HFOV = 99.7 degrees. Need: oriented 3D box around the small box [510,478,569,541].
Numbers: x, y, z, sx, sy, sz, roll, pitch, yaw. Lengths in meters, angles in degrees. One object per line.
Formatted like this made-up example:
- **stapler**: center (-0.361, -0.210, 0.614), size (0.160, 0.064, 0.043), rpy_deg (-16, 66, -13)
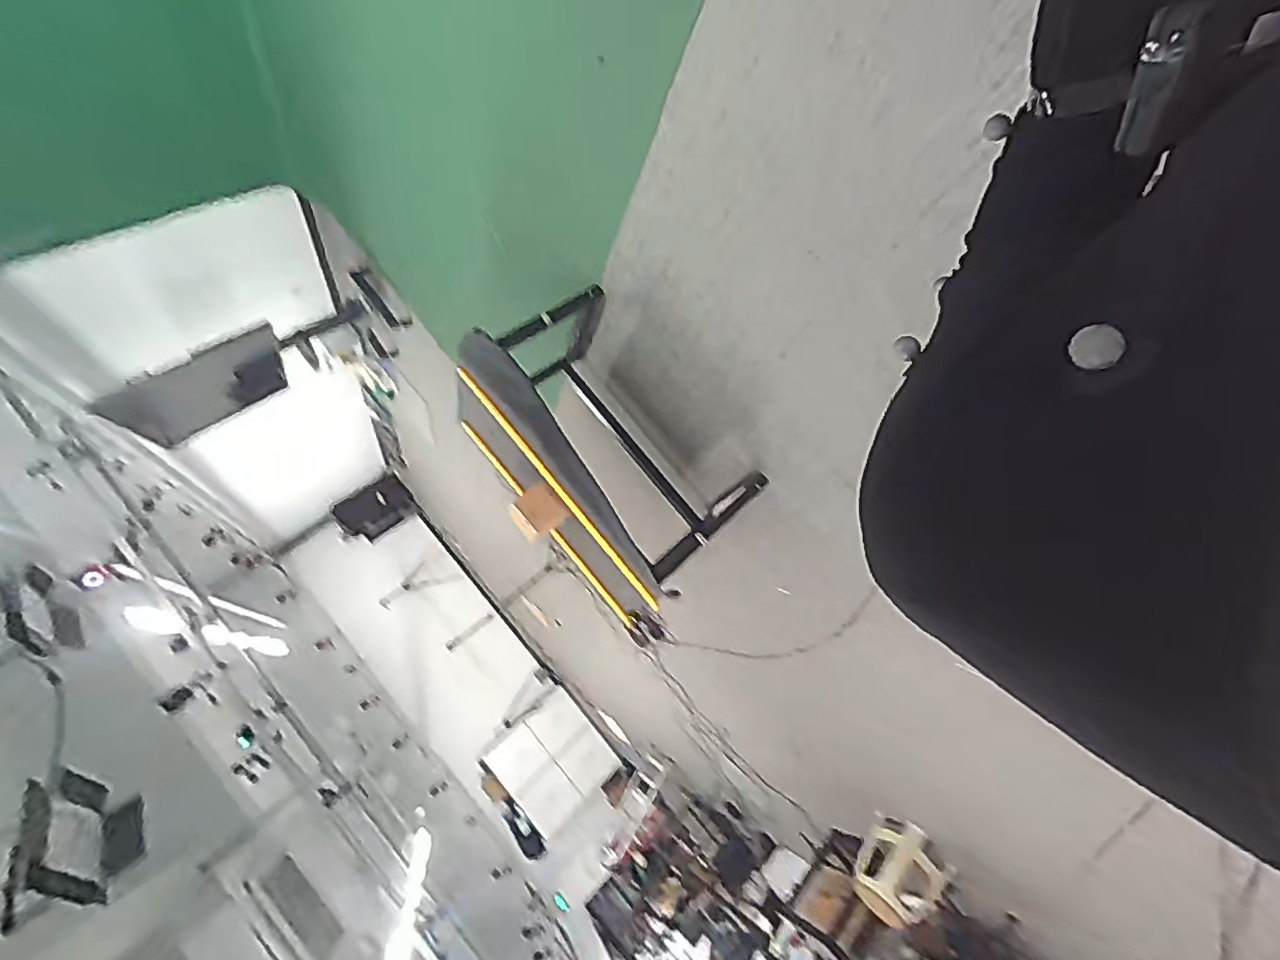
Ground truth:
- **small box**: center (-0.411, 0.120, 2.216), size (0.168, 0.176, 0.179), rpy_deg (48, 154, 6)
